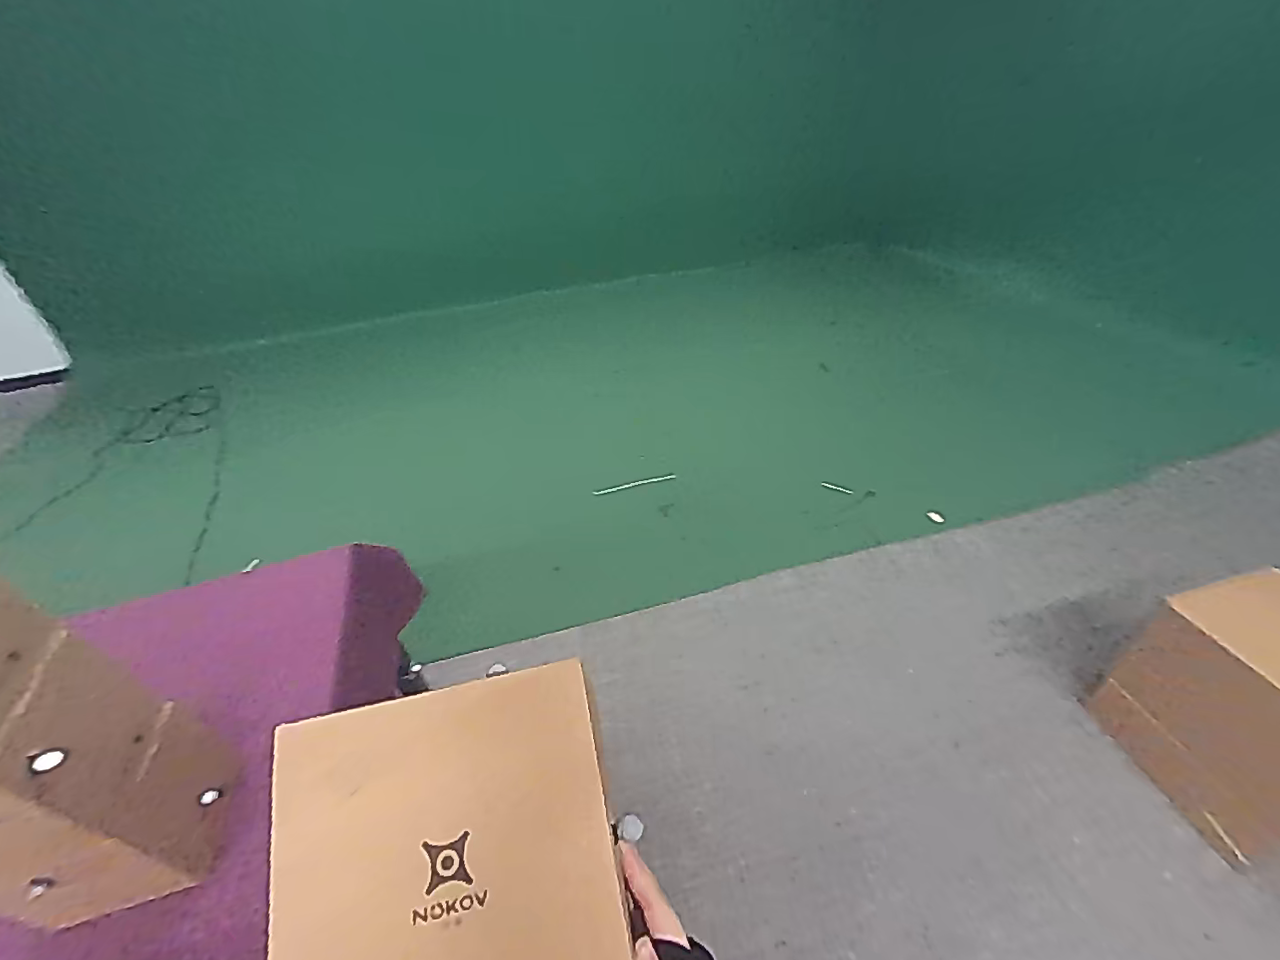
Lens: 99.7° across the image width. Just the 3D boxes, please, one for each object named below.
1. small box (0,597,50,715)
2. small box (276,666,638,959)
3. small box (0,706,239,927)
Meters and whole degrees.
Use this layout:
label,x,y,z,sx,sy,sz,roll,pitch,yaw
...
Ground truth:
label,x,y,z,sx,sy,sz,roll,pitch,yaw
small box,-0.703,0.176,0.471,0.179,0.176,0.168,-17,40,-10
small box,-0.097,0.229,0.340,0.168,0.176,0.179,-10,68,-8
small box,-0.664,0.424,0.682,0.179,0.176,0.168,-14,41,-9
